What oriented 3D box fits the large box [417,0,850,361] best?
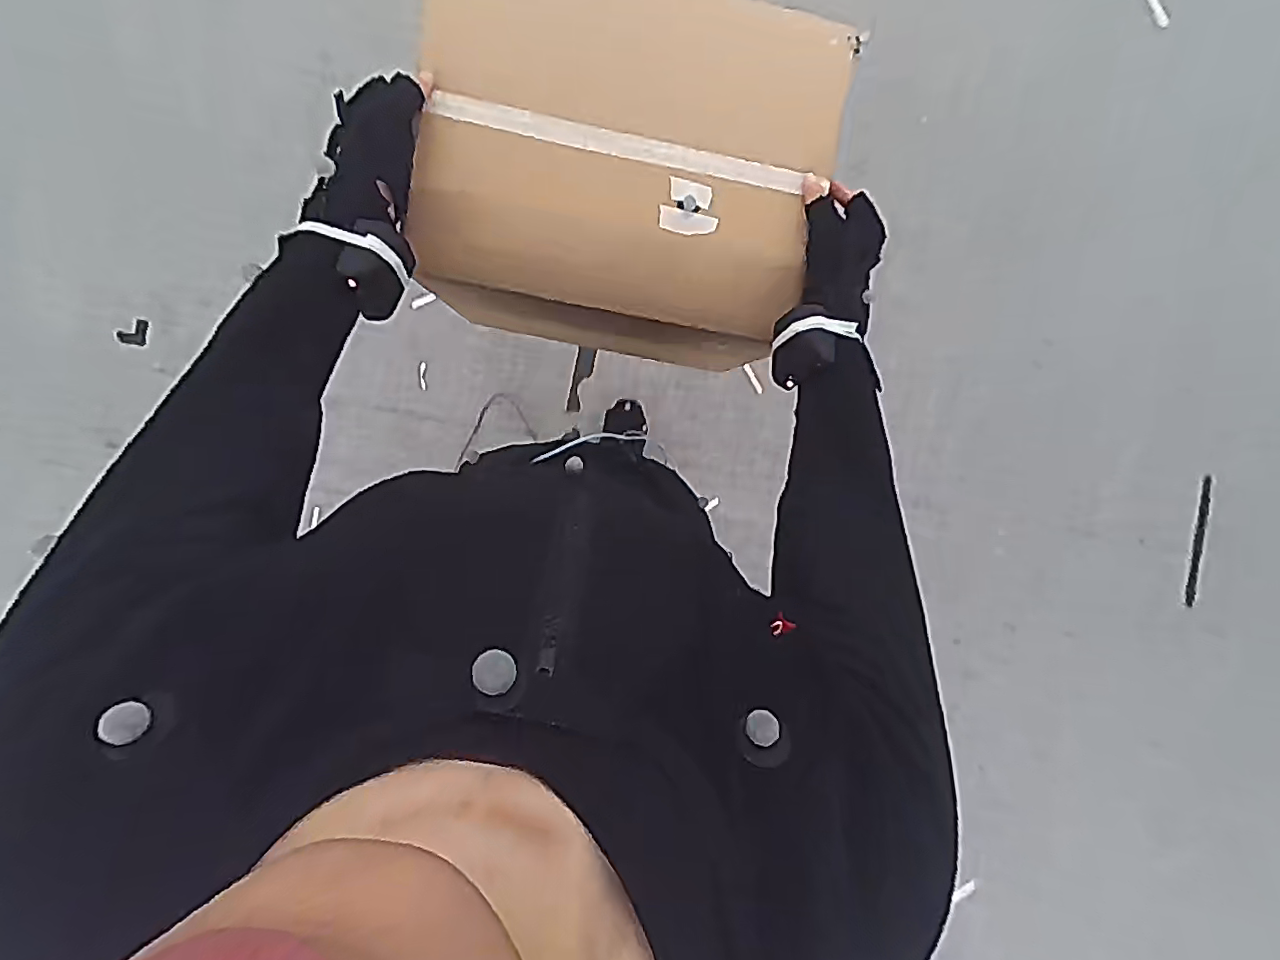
[{"bbox_3d":[-0.020,-0.350,0.684,0.408,0.320,0.320,9,96,-6],"label":"large box"}]
